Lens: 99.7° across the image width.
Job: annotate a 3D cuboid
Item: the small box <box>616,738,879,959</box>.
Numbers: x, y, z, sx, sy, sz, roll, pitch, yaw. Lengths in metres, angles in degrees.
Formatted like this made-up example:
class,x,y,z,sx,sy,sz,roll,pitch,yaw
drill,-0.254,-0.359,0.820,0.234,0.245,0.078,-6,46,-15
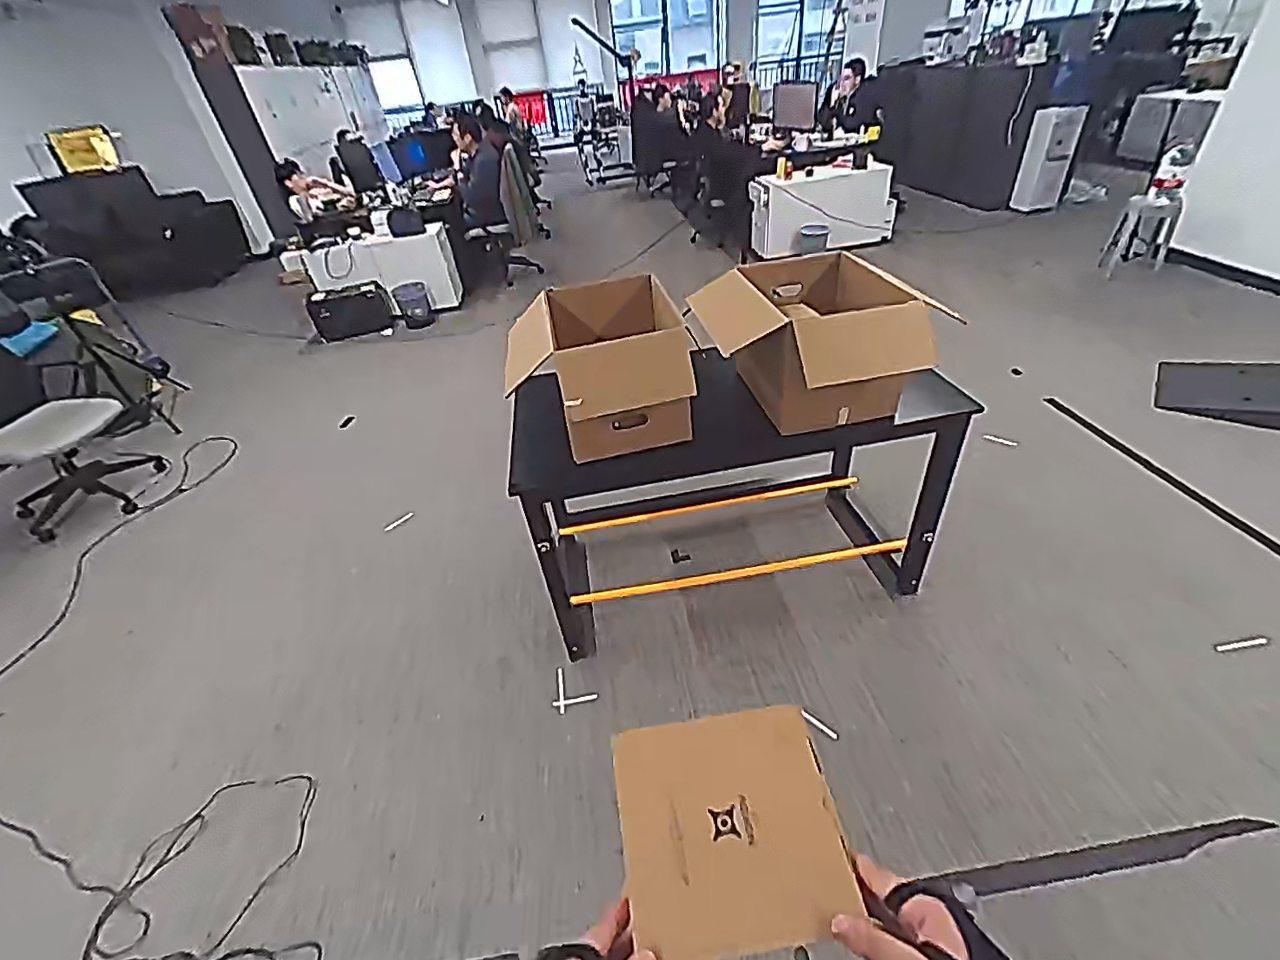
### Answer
class,x,y,z,sx,sy,sz,roll,pitch,yaw
small box,0.078,0.353,0.486,0.179,0.176,0.168,-9,49,-3
